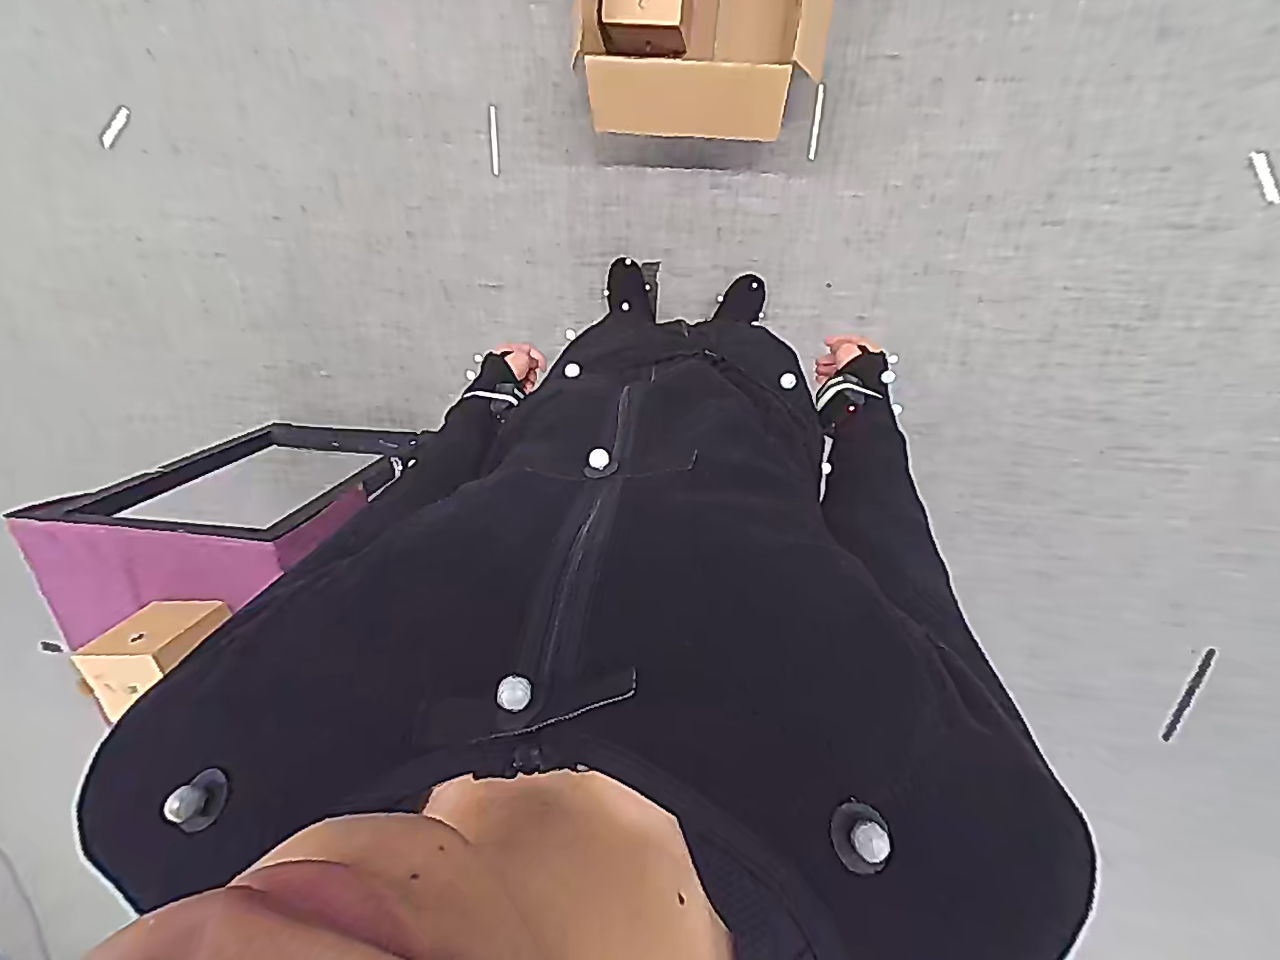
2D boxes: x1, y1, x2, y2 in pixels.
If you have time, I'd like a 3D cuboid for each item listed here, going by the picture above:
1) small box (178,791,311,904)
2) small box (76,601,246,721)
[{"bbox_3d":[-0.959,0.893,1.328,0.179,0.176,0.168,0,113,7],"label":"small box"},{"bbox_3d":[-0.948,0.361,1.095,0.179,0.176,0.168,-2,113,9],"label":"small box"}]
